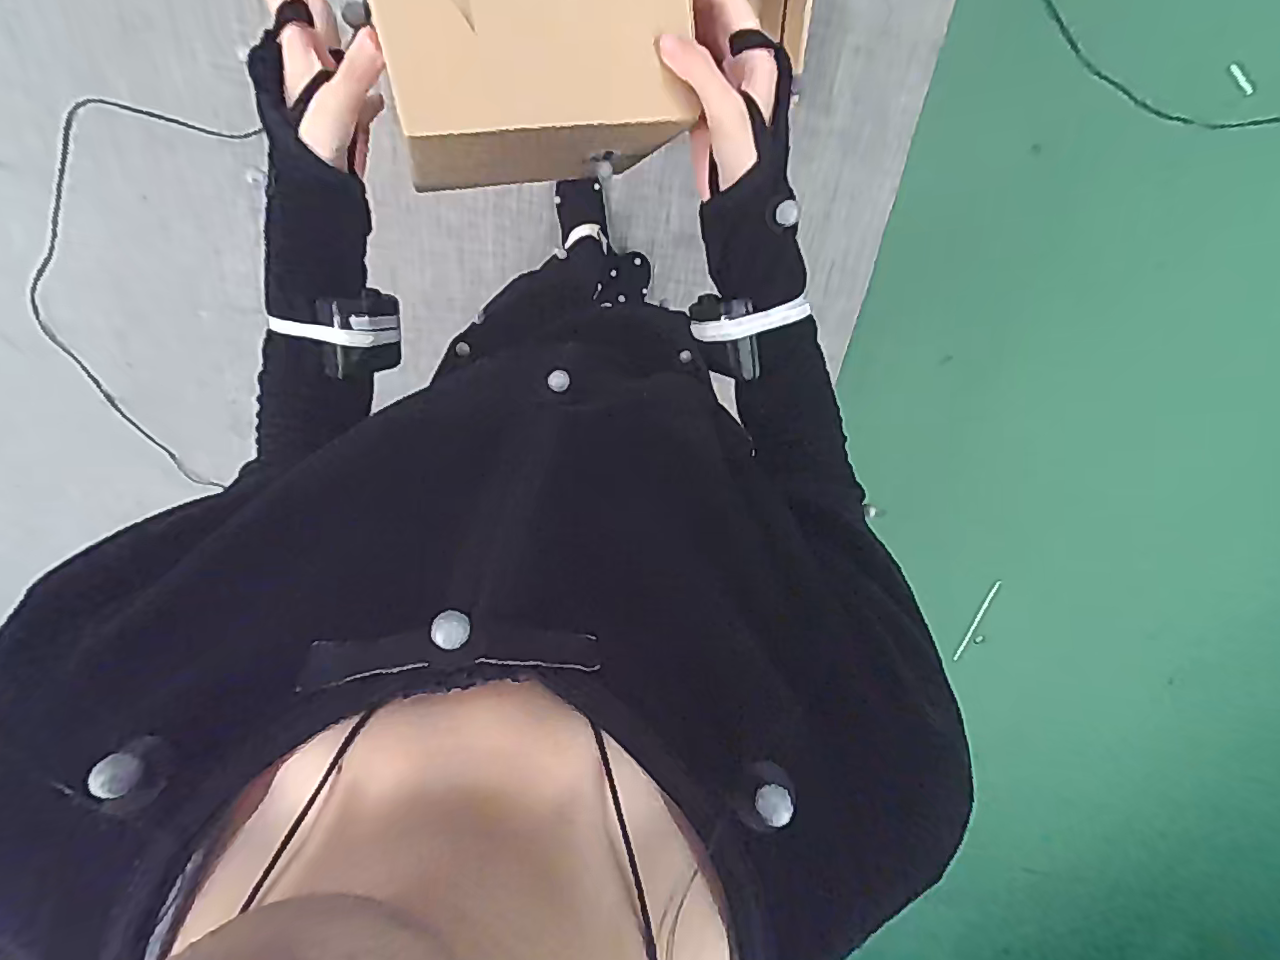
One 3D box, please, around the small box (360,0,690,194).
[{"bbox_3d":[-0.085,-0.298,0.356,0.179,0.176,0.168,-13,110,-15],"label":"small box"}]
